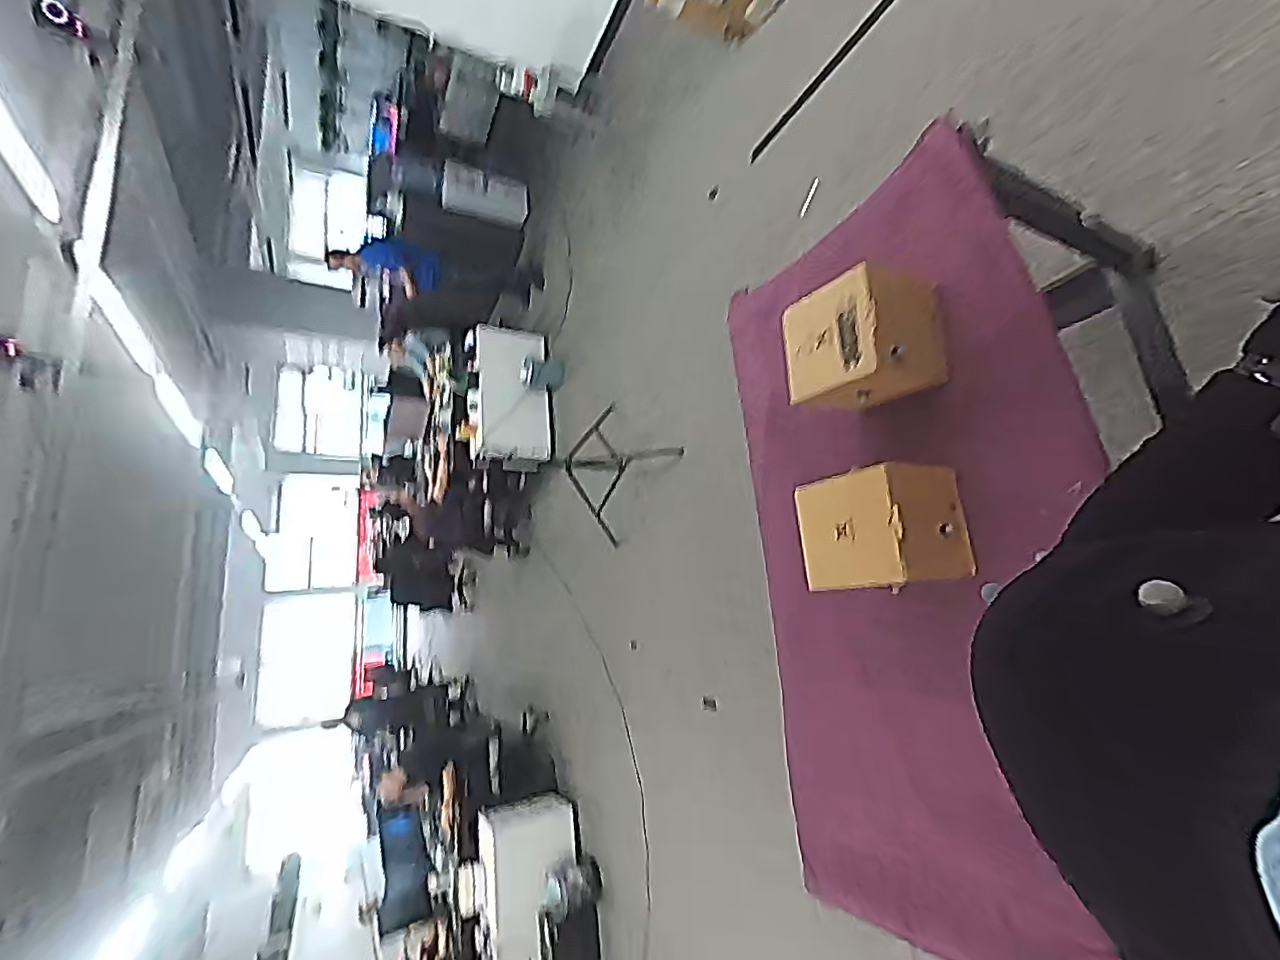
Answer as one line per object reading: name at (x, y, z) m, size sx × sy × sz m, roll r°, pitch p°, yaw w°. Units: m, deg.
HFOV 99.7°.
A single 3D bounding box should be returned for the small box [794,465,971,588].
small box at (0.374, 0.079, 0.849) m, size 0.179 × 0.176 × 0.168 m, roll -26°, pitch 66°, yaw 57°
